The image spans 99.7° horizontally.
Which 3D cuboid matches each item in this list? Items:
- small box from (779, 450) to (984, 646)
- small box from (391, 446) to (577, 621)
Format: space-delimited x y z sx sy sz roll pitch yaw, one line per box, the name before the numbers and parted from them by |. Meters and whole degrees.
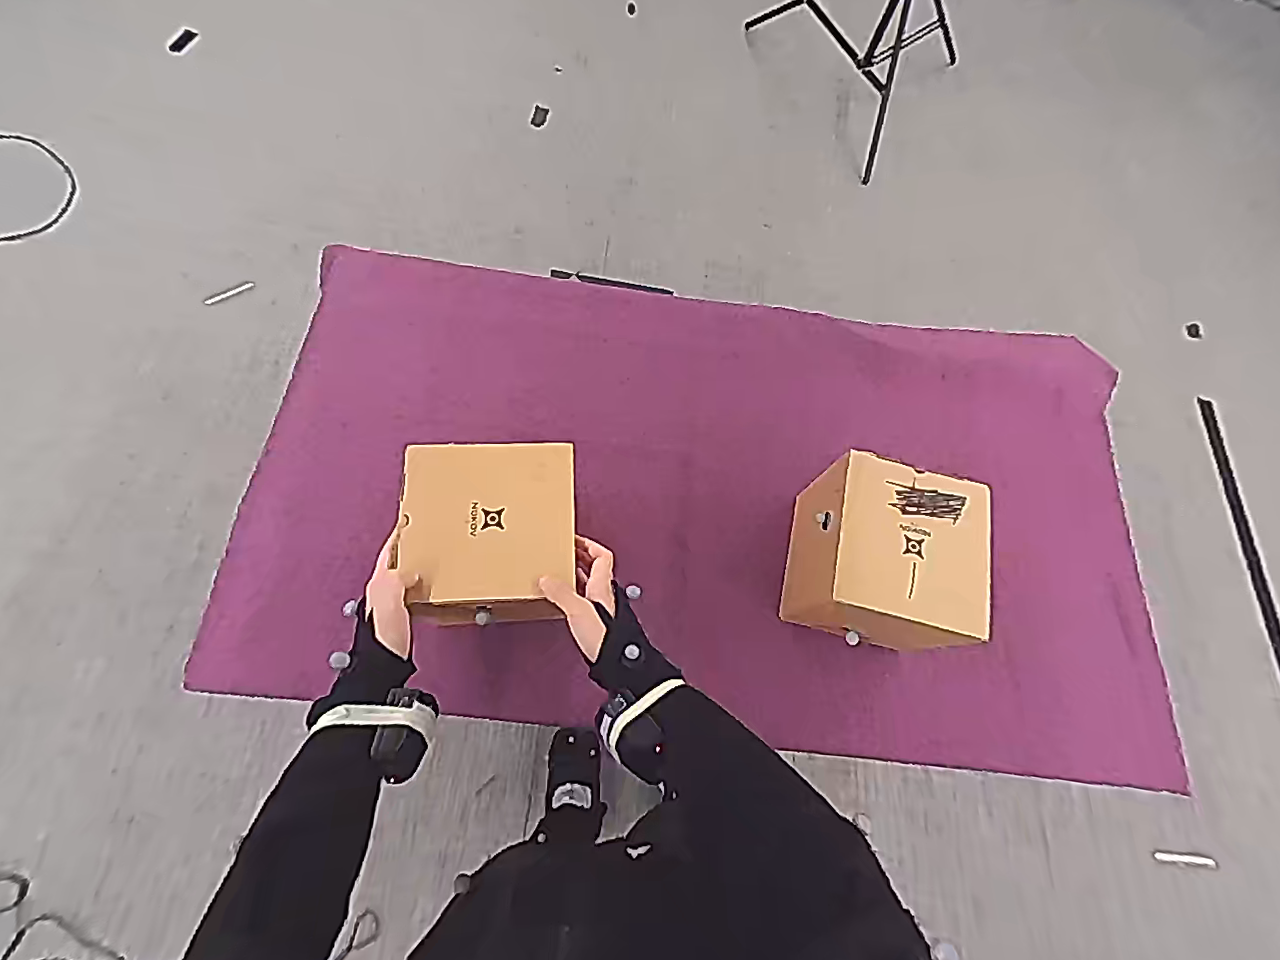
small box | 0.280 0.091 0.655 0.168 0.176 0.179 15 69 0
small box | -0.162 0.068 0.622 0.179 0.176 0.168 -2 70 -6
